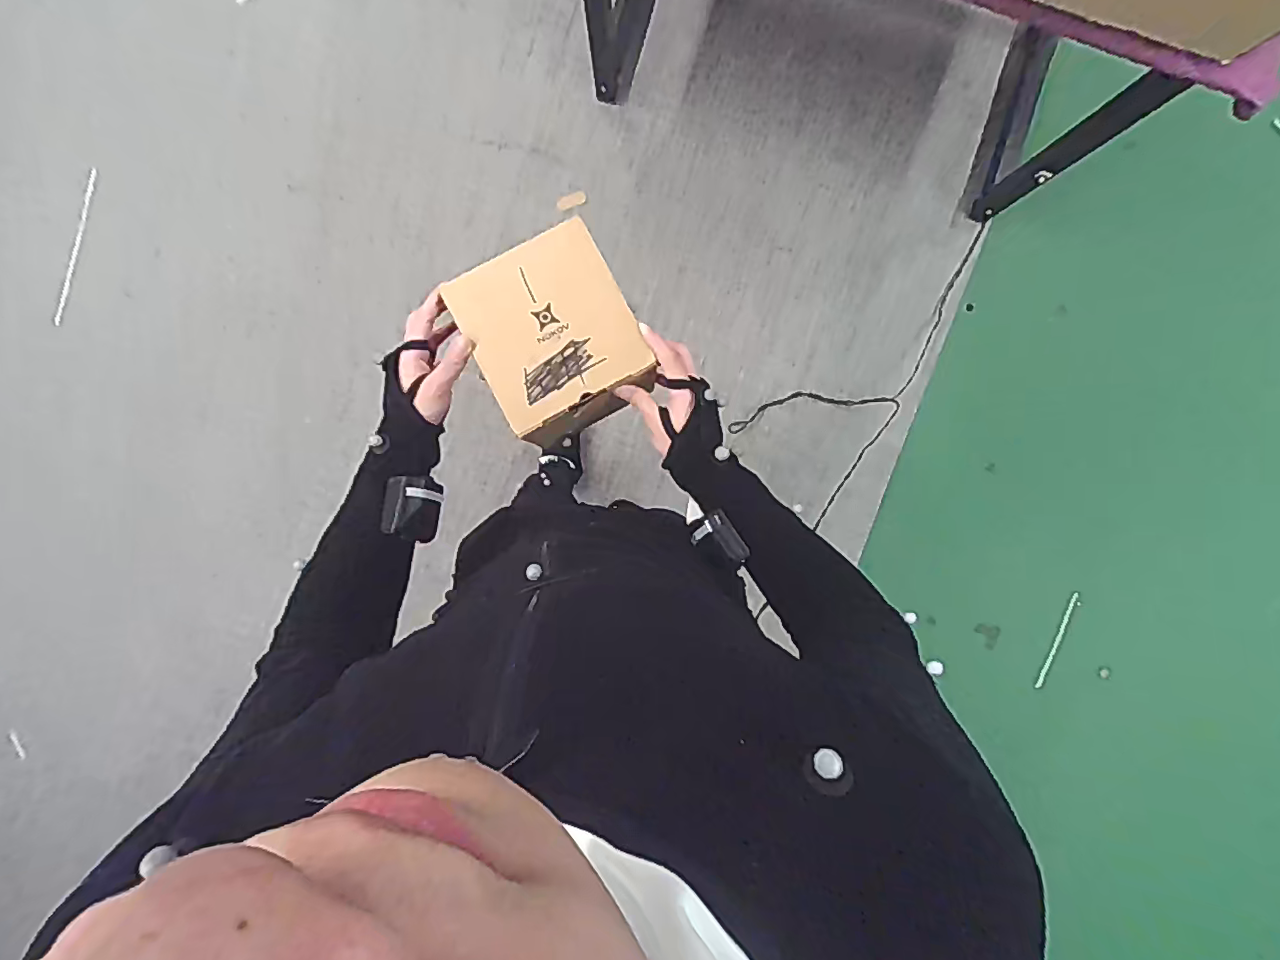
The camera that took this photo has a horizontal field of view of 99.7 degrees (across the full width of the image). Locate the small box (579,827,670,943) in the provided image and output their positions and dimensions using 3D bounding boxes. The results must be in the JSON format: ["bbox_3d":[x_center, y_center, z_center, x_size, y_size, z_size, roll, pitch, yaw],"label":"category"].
[{"bbox_3d":[-0.033,0.978,1.295,0.179,0.176,0.168,-15,93,1],"label":"small box"}]
